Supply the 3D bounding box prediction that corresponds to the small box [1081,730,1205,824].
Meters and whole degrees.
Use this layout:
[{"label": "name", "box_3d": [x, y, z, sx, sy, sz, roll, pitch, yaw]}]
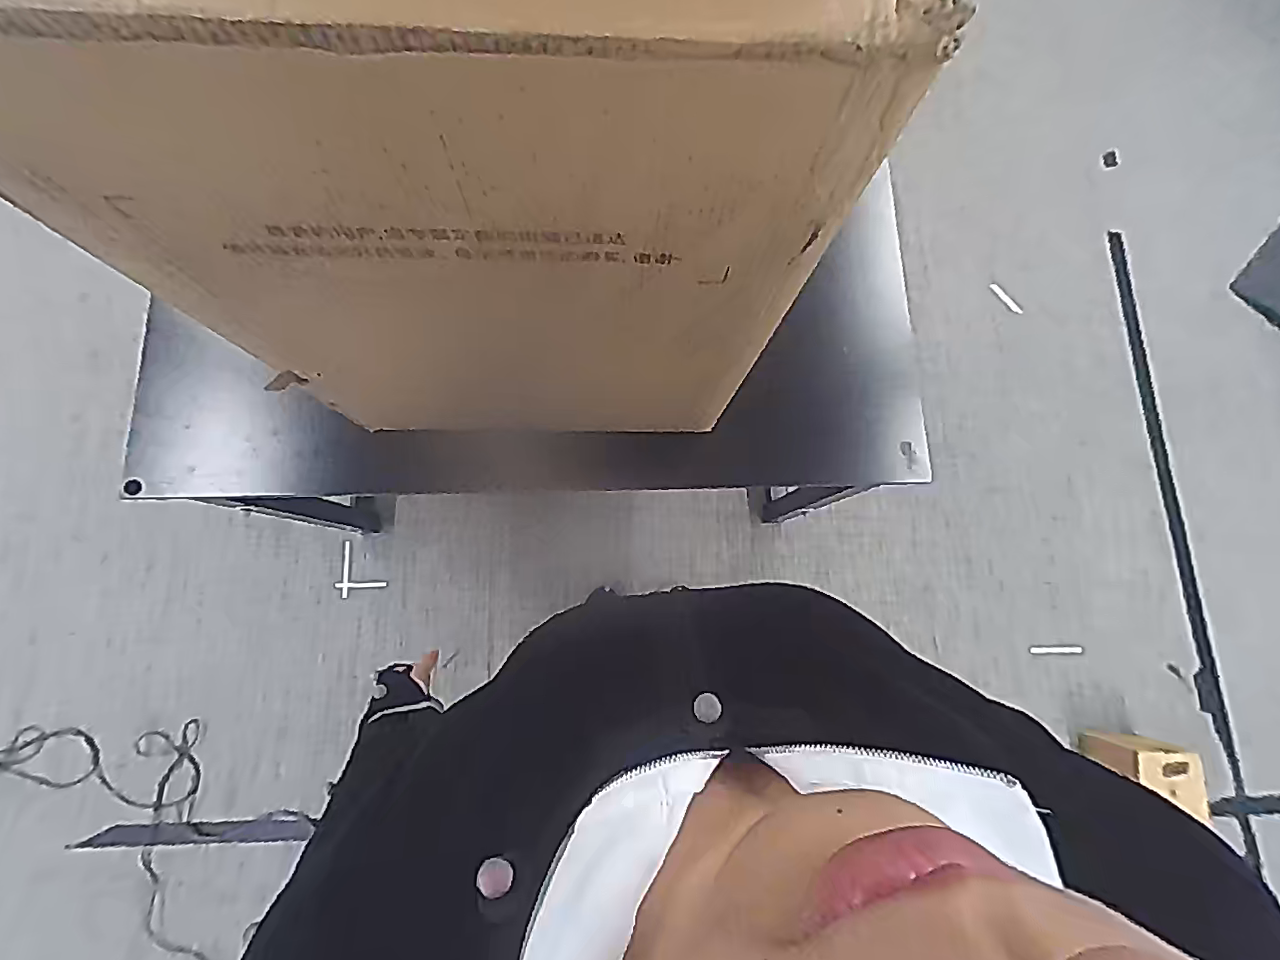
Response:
[{"label": "small box", "box_3d": [1.299, 0.765, 1.411, 0.168, 0.176, 0.179, 3, 80, -2]}]
